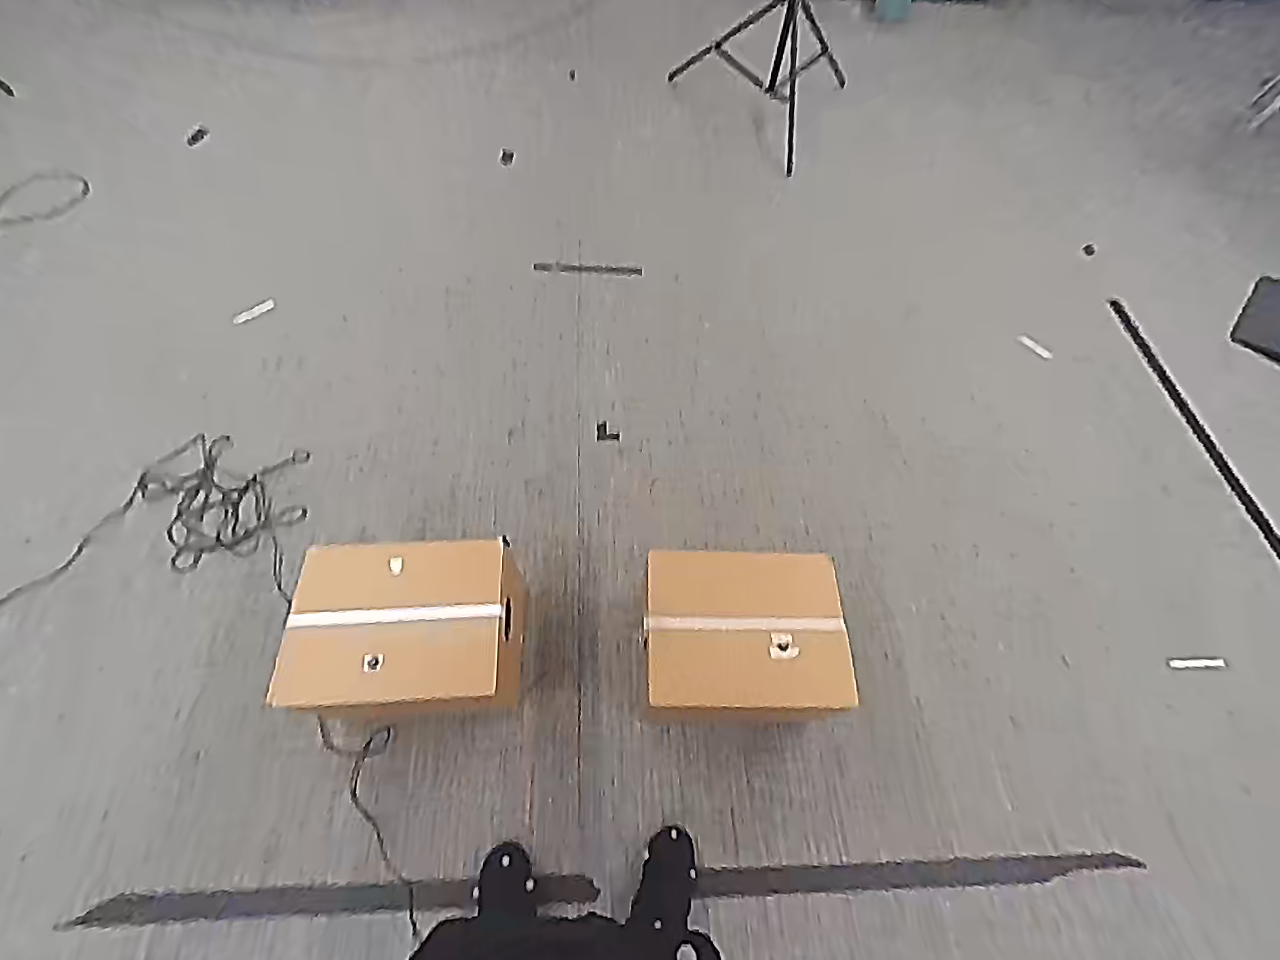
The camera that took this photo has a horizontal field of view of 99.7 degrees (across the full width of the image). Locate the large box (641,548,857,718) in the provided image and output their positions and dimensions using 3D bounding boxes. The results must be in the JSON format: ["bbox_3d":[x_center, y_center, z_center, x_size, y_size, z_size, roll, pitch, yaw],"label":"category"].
[{"bbox_3d":[0.211,0.359,1.234,0.408,0.320,0.320,2,61,-3],"label":"large box"}]
